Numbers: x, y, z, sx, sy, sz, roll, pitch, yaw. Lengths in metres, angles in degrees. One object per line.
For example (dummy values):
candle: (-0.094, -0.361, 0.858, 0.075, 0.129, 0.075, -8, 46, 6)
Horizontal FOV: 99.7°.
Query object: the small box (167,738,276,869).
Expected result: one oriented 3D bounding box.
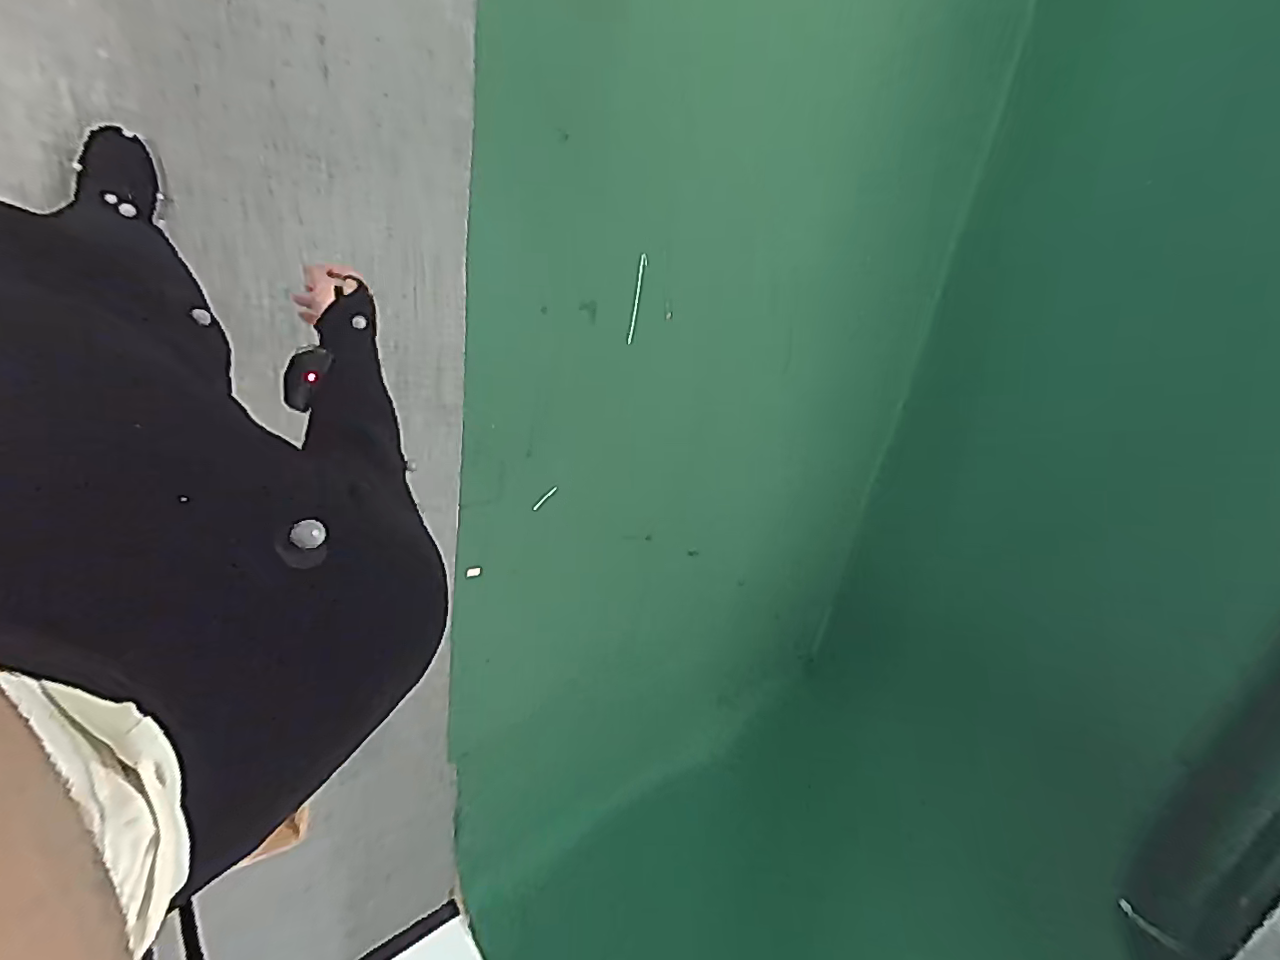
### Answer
small box: (-0.974, 0.737, 1.255, 0.179, 0.176, 0.168, 3, 110, -44)
